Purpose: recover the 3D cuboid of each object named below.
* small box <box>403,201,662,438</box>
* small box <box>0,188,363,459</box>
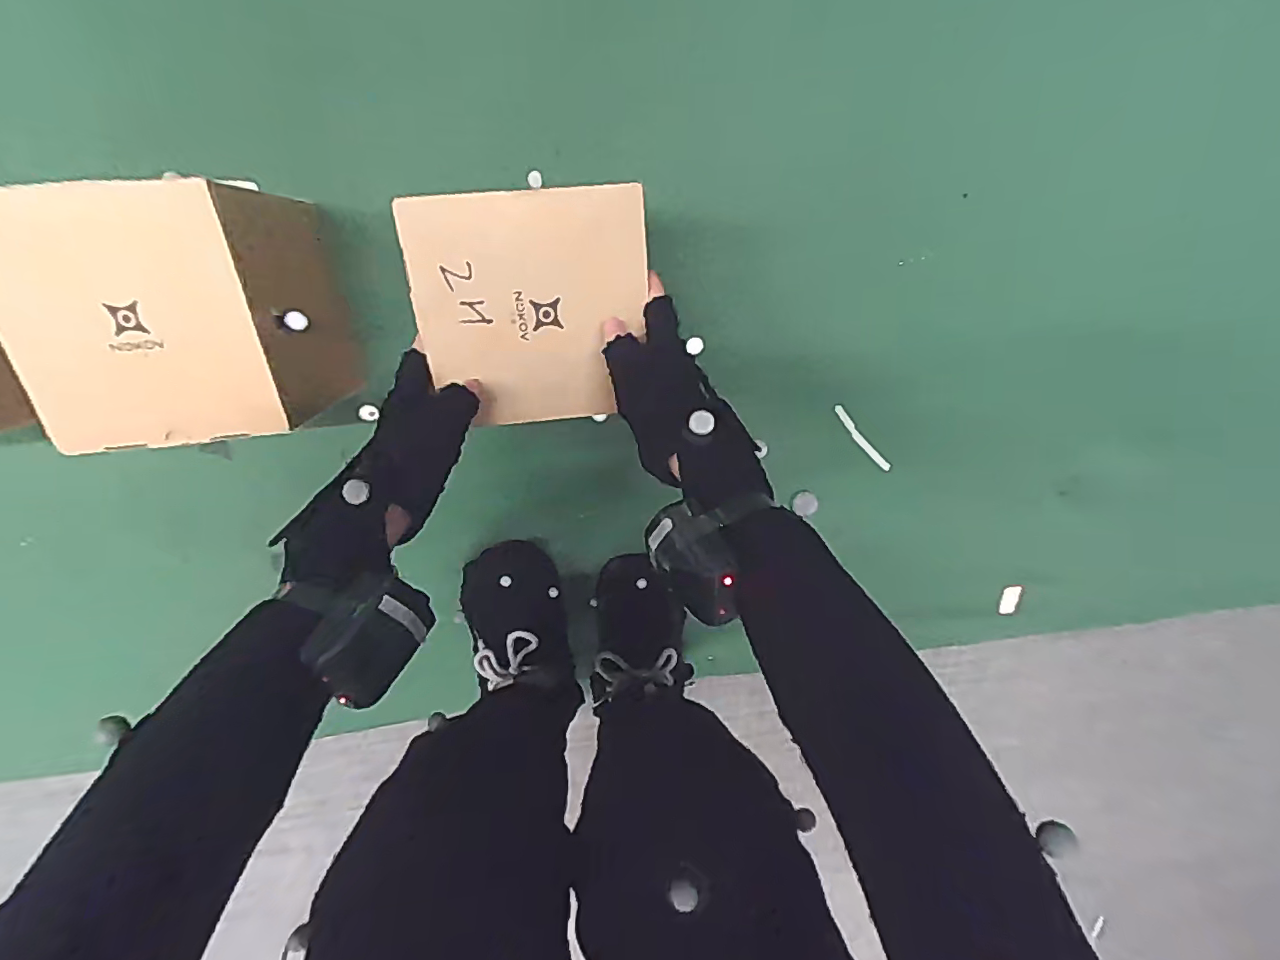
[{"bbox_3d":[-0.082,-0.147,0.480,0.179,0.176,0.168,-6,112,-4],"label":"small box"},{"bbox_3d":[-0.360,-0.133,0.452,0.168,0.176,0.179,-6,113,-6],"label":"small box"}]
